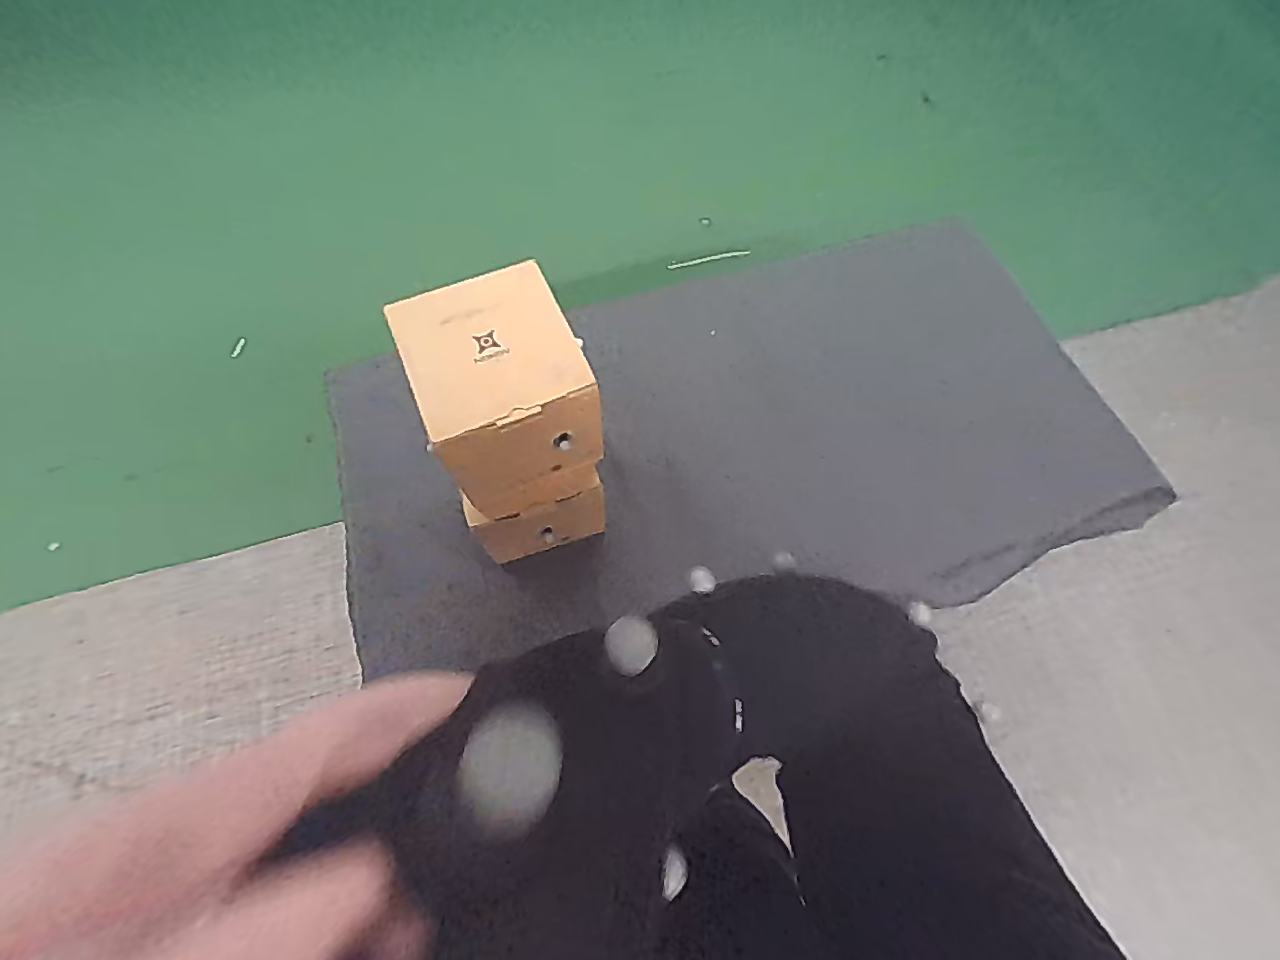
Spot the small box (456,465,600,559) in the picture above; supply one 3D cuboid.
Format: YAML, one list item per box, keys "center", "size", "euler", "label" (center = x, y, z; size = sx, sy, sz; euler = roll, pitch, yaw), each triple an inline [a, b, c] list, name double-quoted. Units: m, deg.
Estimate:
- center: [-0.155, -0.003, 0.744]
  size: [0.168, 0.176, 0.179]
  euler: [-17, 69, -10]
  label: "small box"

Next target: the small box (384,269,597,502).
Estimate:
- center: [-0.154, -0.093, 0.606]
  size: [0.168, 0.176, 0.179]
  euler: [-23, 68, -13]
  label: "small box"
